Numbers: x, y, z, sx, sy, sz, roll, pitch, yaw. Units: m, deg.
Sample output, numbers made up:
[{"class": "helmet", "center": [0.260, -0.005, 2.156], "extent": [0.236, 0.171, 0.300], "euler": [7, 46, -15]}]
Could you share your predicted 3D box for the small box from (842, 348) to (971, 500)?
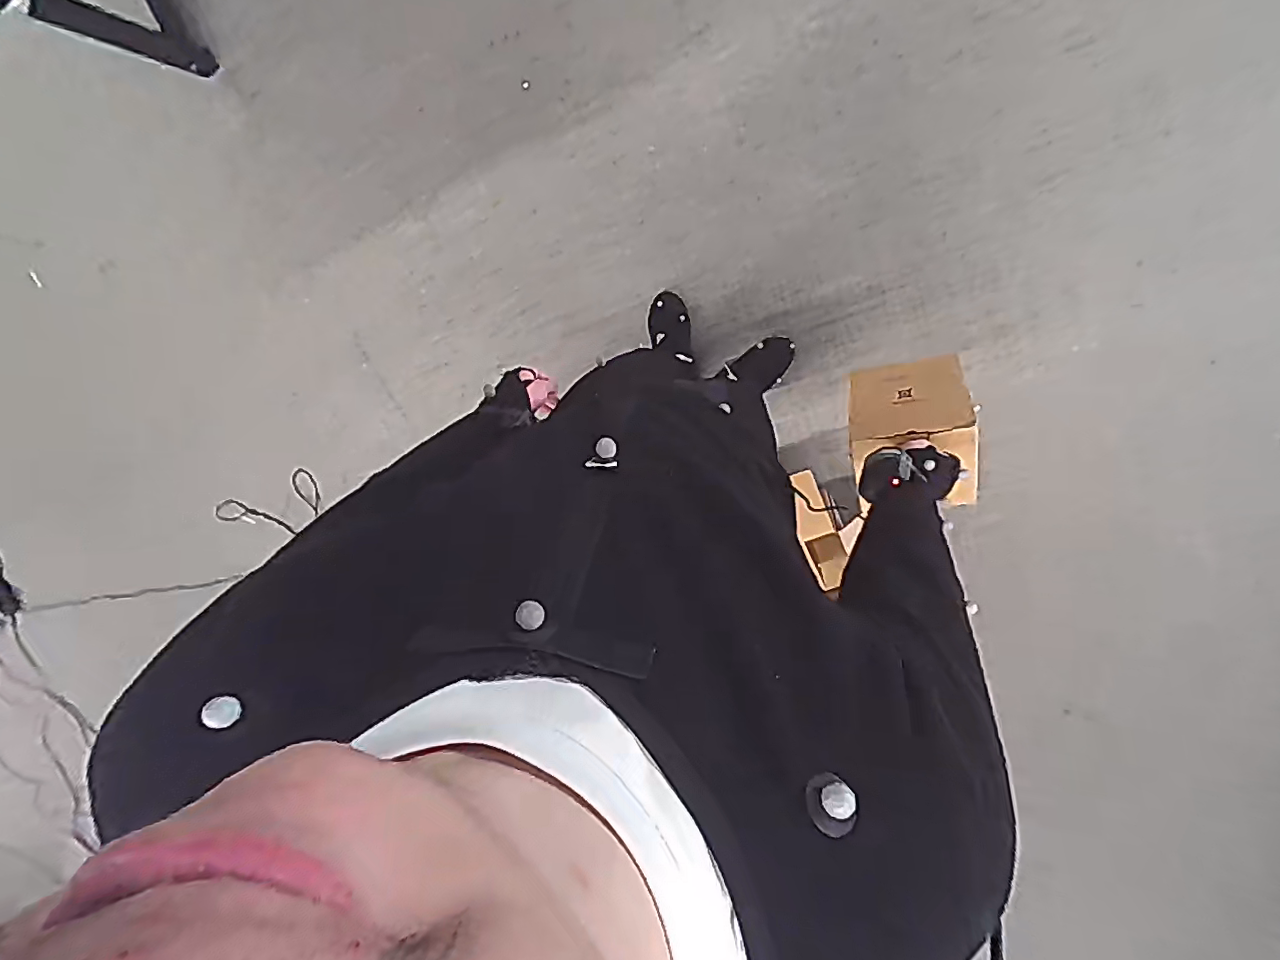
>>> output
[{"class": "small box", "center": [0.423, -0.080, 0.868], "extent": [0.168, 0.179, 0.176], "euler": [-6, 134, 23]}]
